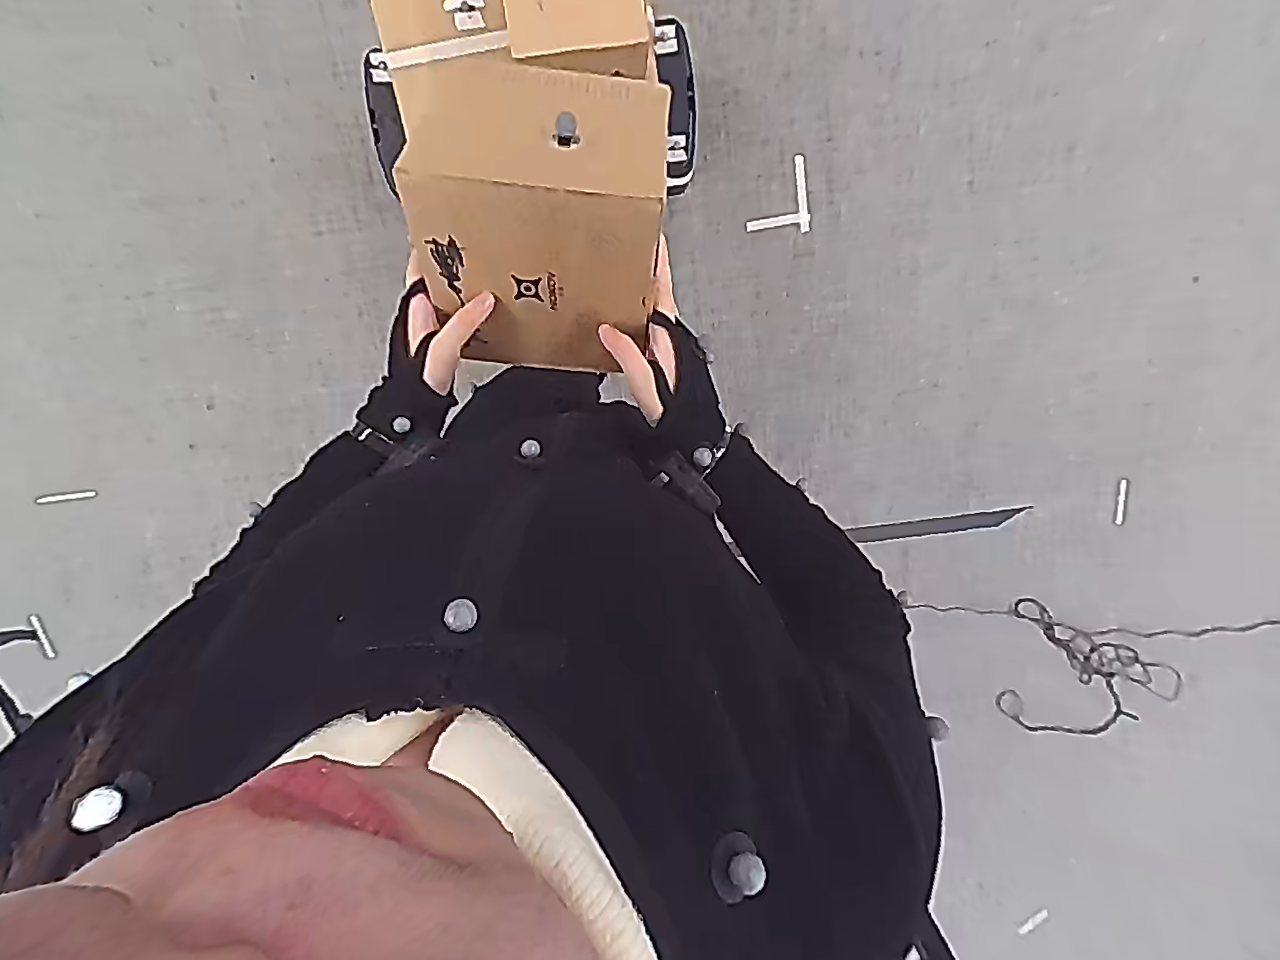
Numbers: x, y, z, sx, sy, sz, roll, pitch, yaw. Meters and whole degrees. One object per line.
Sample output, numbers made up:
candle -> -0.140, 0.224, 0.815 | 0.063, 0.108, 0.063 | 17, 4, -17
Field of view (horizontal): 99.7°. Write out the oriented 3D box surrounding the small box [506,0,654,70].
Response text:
small box -> -0.081, -0.629, 0.721 | 0.179, 0.176, 0.168 | -7, 105, 0

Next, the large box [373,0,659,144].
large box -> -0.183, -0.692, 0.955 | 0.408, 0.320, 0.320 | -10, 104, 1

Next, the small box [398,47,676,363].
small box -> -0.069, -0.219, 0.444 | 0.179, 0.176, 0.168 | 4, 147, -4
